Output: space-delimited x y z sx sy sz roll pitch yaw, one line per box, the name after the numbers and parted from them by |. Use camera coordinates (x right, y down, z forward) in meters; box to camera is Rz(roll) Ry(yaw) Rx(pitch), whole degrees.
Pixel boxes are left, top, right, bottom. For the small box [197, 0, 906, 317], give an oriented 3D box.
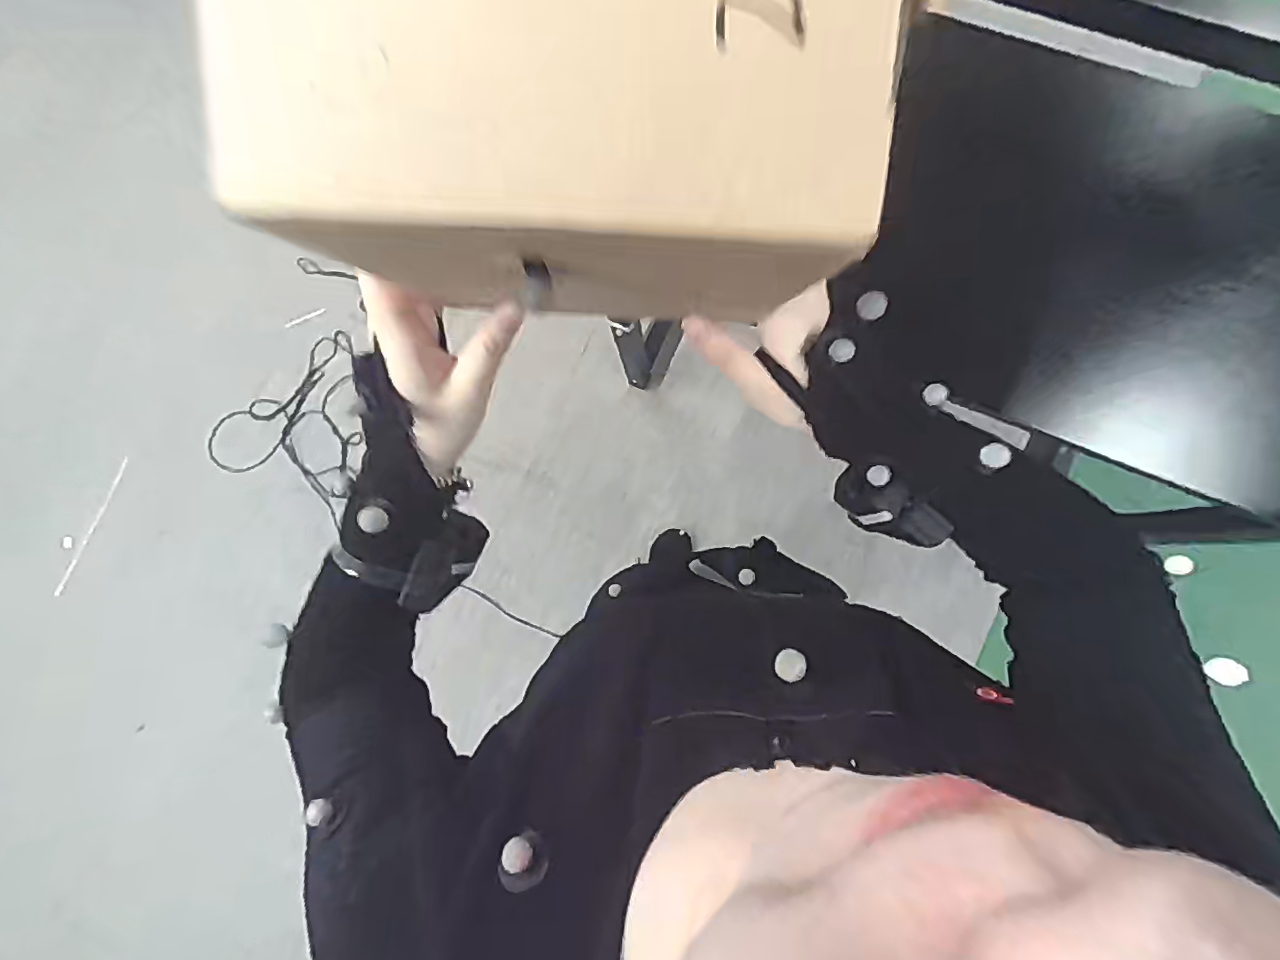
-0.019 -0.158 0.205 0.179 0.176 0.168 3 100 0 | small box
